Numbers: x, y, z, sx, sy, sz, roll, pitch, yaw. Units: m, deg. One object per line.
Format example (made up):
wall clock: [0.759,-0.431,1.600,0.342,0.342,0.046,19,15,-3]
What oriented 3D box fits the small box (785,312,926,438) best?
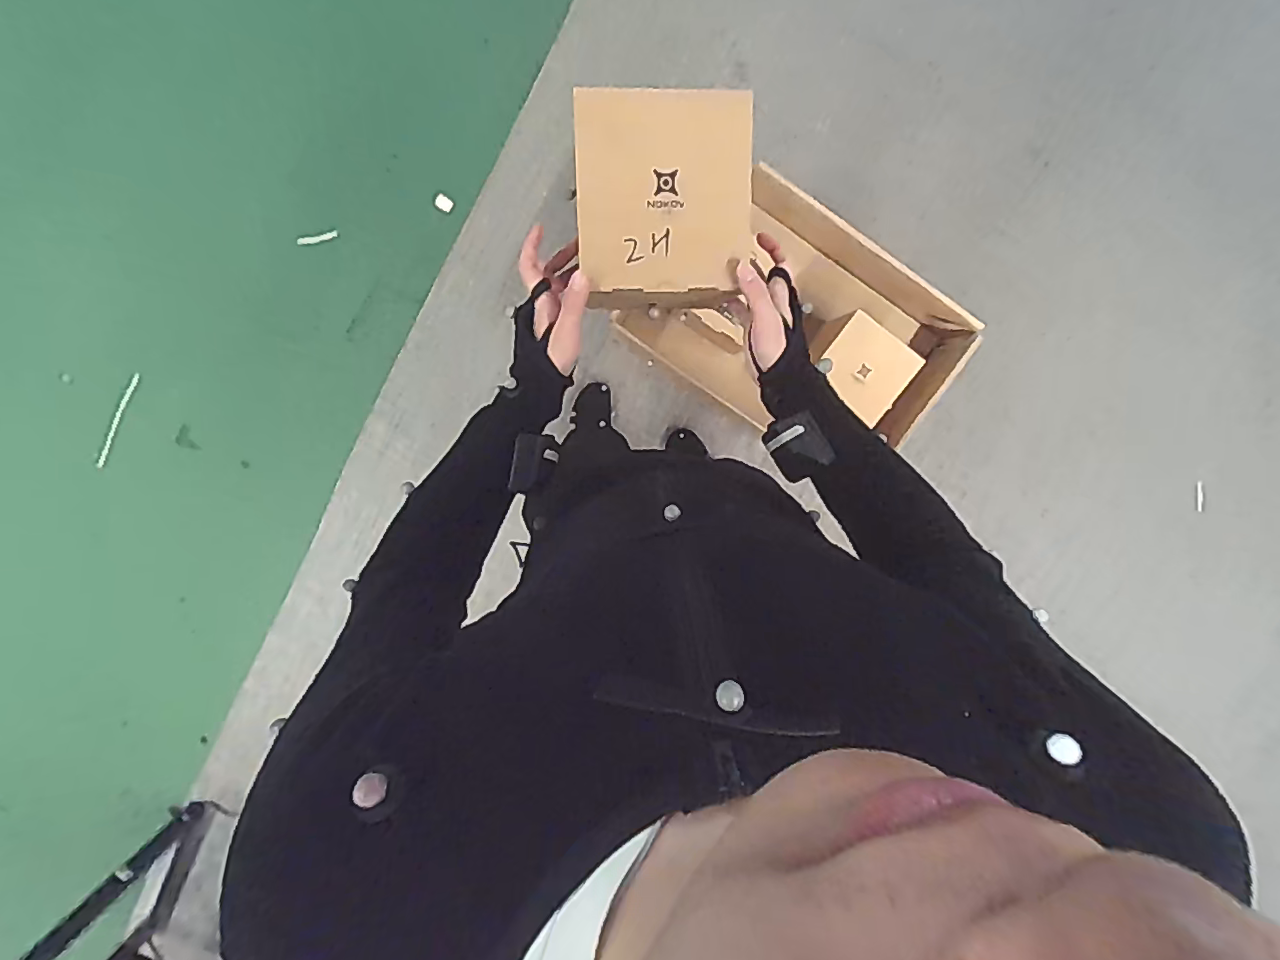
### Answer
small box: [0.417,-0.206,1.082,0.168,0.176,0.179,36,98,-5]

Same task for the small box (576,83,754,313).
small box: [0.016,-0.280,0.575,0.168,0.176,0.179,-2,101,-4]
